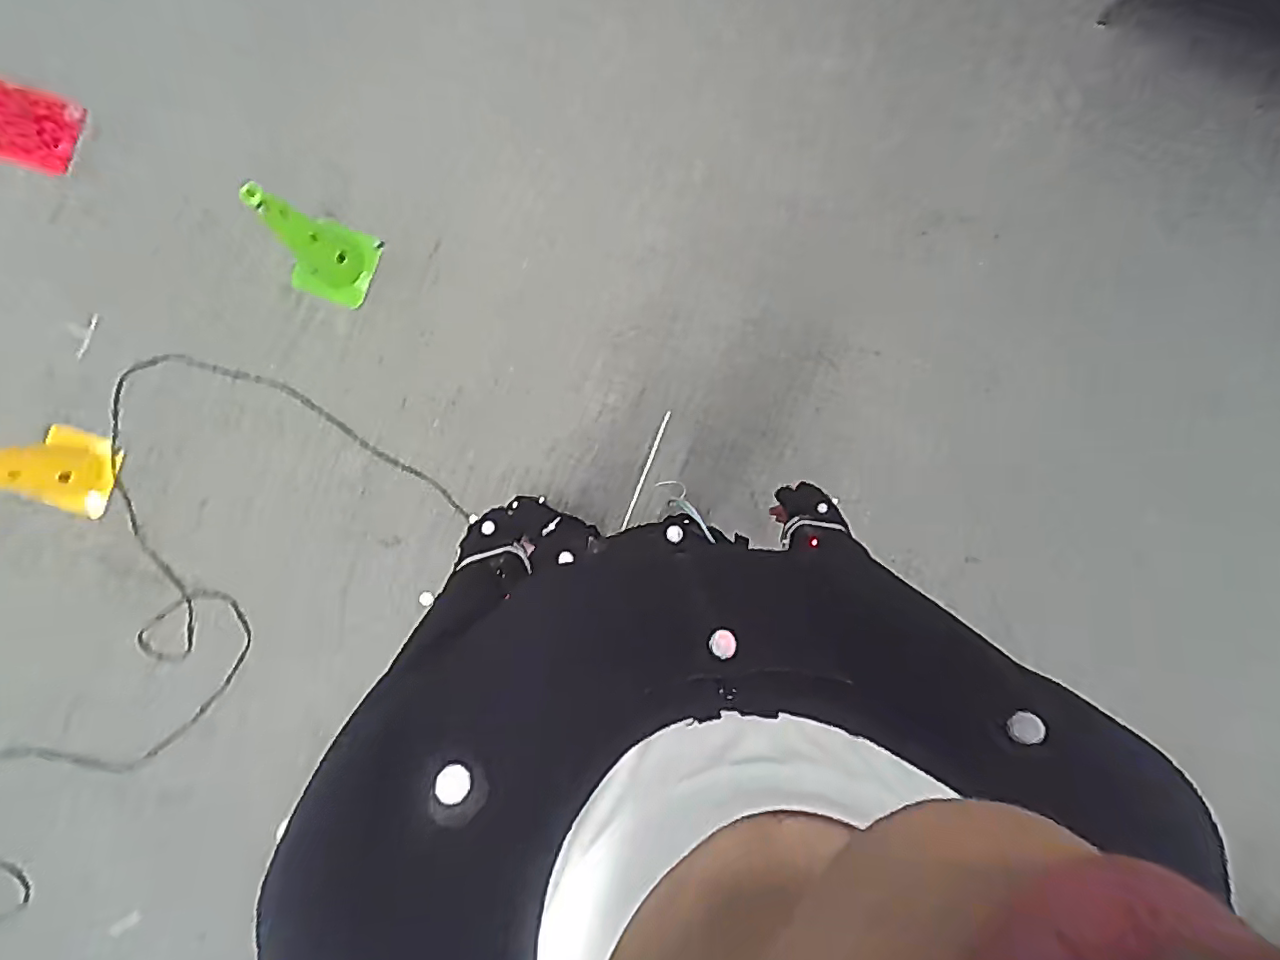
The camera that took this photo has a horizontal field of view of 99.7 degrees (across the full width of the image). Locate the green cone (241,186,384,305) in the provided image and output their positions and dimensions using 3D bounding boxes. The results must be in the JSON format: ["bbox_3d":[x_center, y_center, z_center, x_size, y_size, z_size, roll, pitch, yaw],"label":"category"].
[{"bbox_3d":[-0.810,-0.595,1.293,0.200,0.368,0.202,20,90,-1],"label":"green cone"}]

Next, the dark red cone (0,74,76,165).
[{"bbox_3d":[-1.583,-0.938,1.245,0.201,0.394,0.202,16,89,0],"label":"dark red cone"}]
